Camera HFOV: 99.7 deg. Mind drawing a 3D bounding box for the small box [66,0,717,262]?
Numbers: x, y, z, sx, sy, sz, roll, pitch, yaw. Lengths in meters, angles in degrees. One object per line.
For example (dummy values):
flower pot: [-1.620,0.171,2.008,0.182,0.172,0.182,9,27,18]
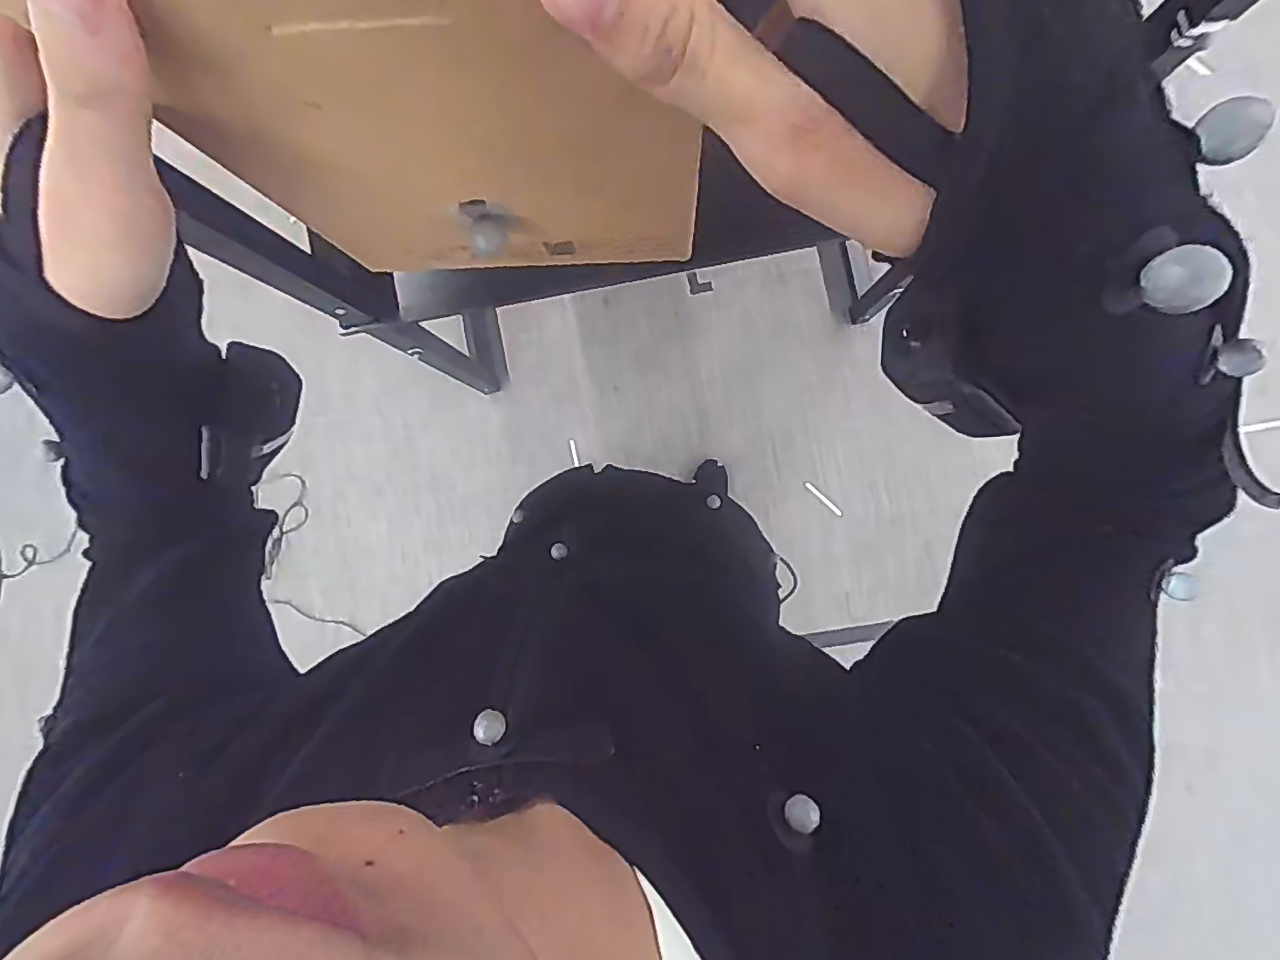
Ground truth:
small box: [-0.060,-0.196,0.186,0.168,0.176,0.179,0,90,4]
